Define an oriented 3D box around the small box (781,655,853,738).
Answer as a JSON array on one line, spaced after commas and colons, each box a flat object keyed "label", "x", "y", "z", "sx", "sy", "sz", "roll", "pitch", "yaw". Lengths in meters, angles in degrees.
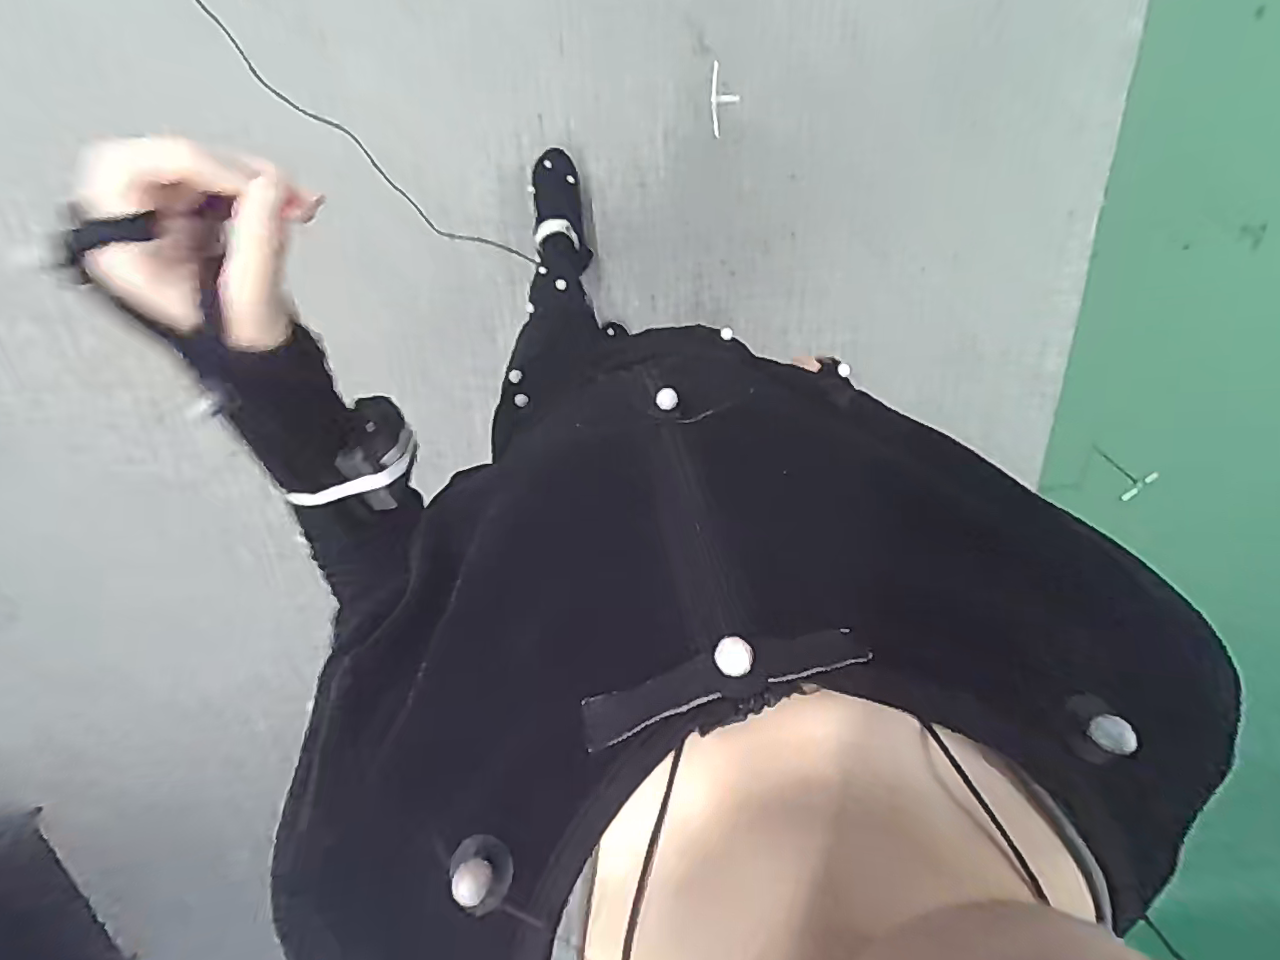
[{"label": "small box", "x": 0.540, "y": 0.660, "z": 1.670, "sx": 0.168, "sy": 0.176, "sz": 0.179, "roll": -5, "pitch": 109, "yaw": -2}]
